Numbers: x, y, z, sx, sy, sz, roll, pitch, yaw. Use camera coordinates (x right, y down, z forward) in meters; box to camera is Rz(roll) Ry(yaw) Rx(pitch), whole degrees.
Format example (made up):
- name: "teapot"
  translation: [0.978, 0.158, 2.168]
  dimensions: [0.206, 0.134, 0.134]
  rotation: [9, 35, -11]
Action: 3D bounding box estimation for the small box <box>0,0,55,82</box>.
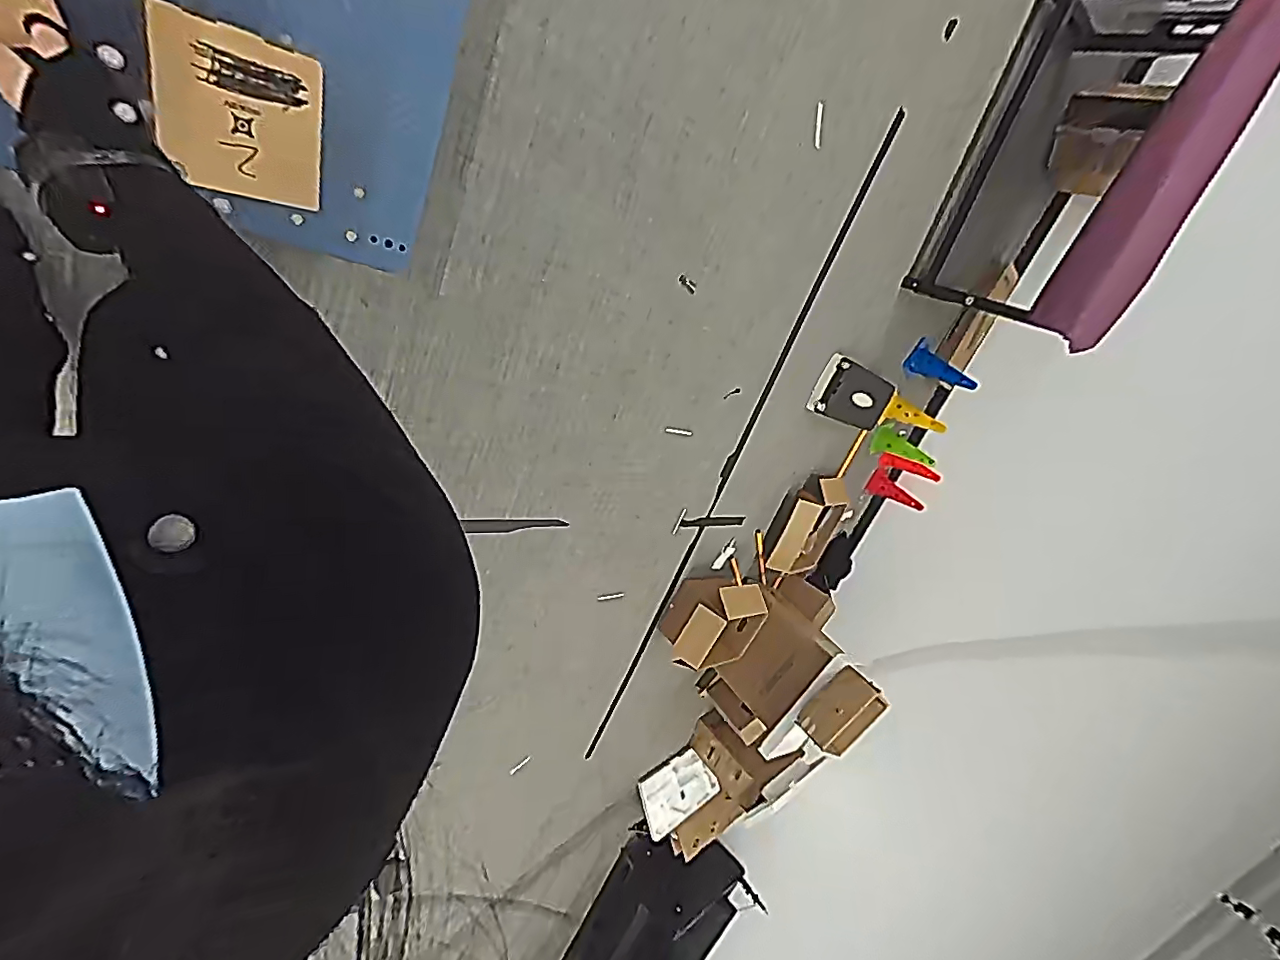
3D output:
- name: "small box"
  translation: [-0.565, -0.435, 0.402]
  dimensions: [0.168, 0.176, 0.179]
  rotation: [-3, 122, -43]
